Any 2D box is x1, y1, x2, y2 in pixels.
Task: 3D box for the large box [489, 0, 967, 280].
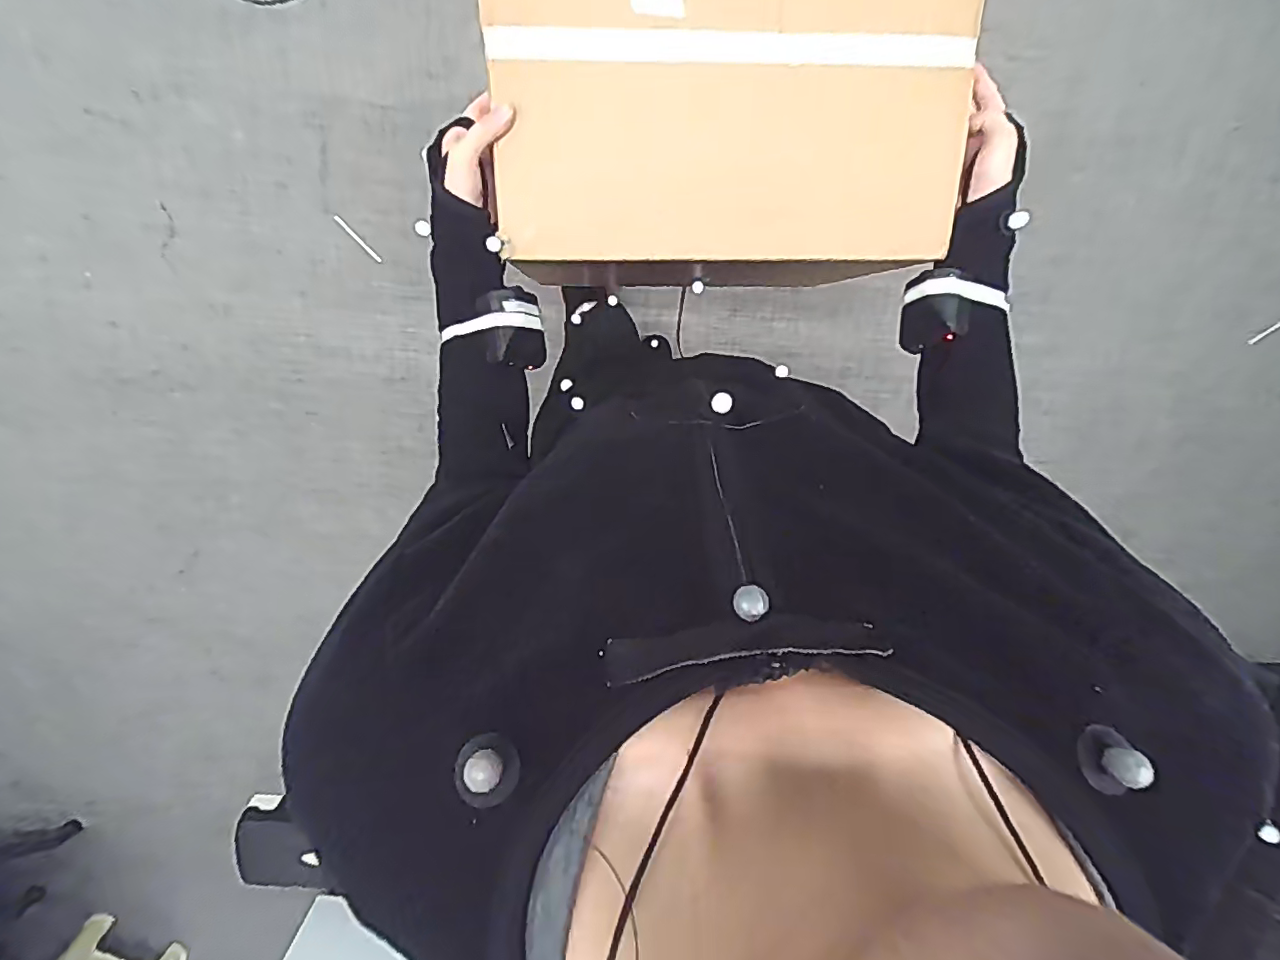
[{"bbox_3d":[0.070,-0.395,0.598,0.408,0.320,0.320,-1,105,-3],"label":"large box"}]
